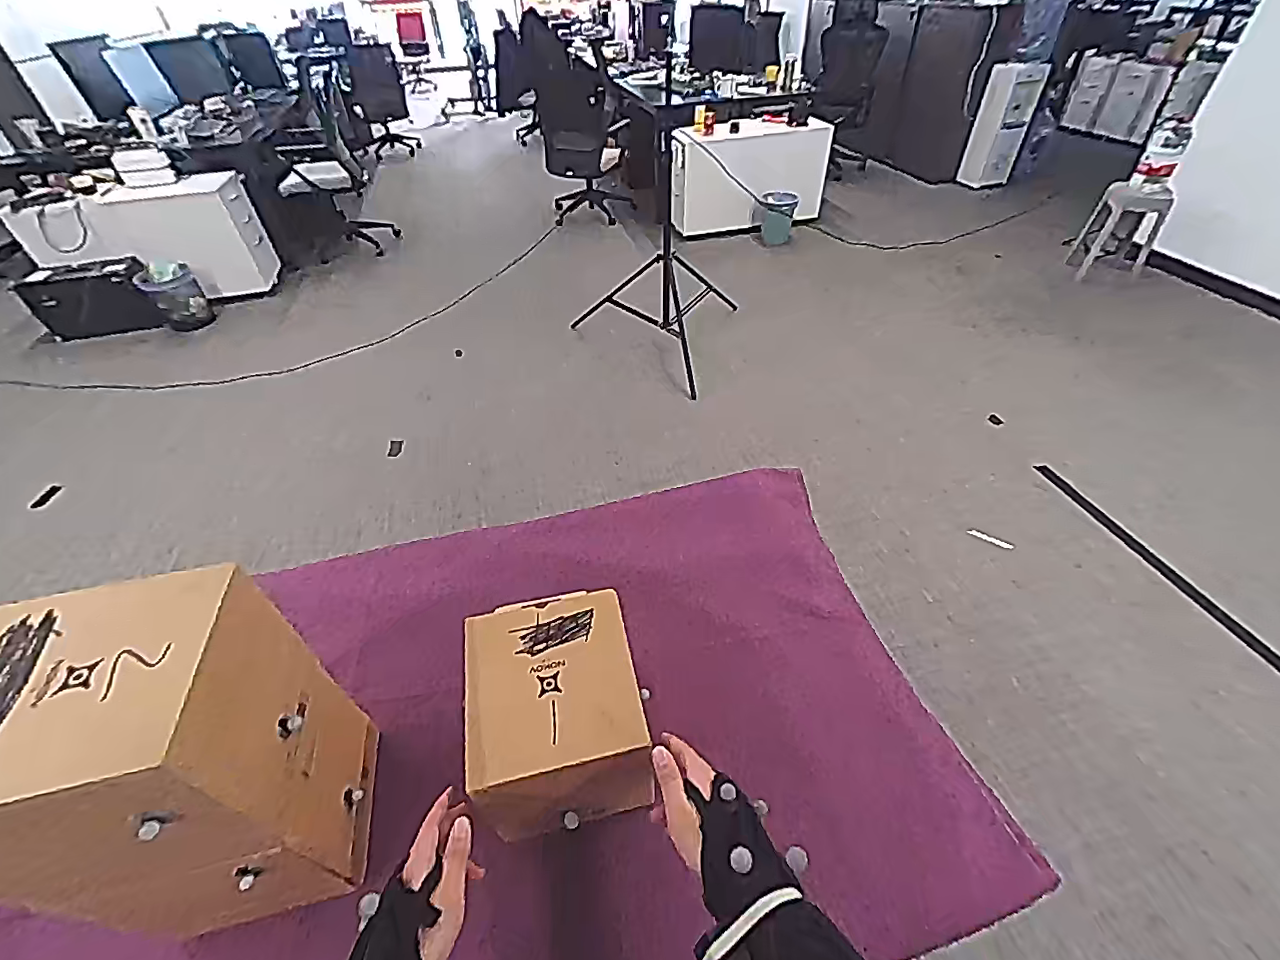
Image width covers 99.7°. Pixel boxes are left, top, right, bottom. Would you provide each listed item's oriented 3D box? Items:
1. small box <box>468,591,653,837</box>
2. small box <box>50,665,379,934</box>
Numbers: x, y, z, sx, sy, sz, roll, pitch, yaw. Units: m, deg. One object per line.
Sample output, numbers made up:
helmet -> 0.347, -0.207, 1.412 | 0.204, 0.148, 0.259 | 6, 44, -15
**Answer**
small box -> -0.084, 0.253, 0.591 | 0.168, 0.176, 0.179 | -10, 44, -8
small box -> -0.387, 0.317, 0.539 | 0.179, 0.176, 0.168 | -11, 44, -10
